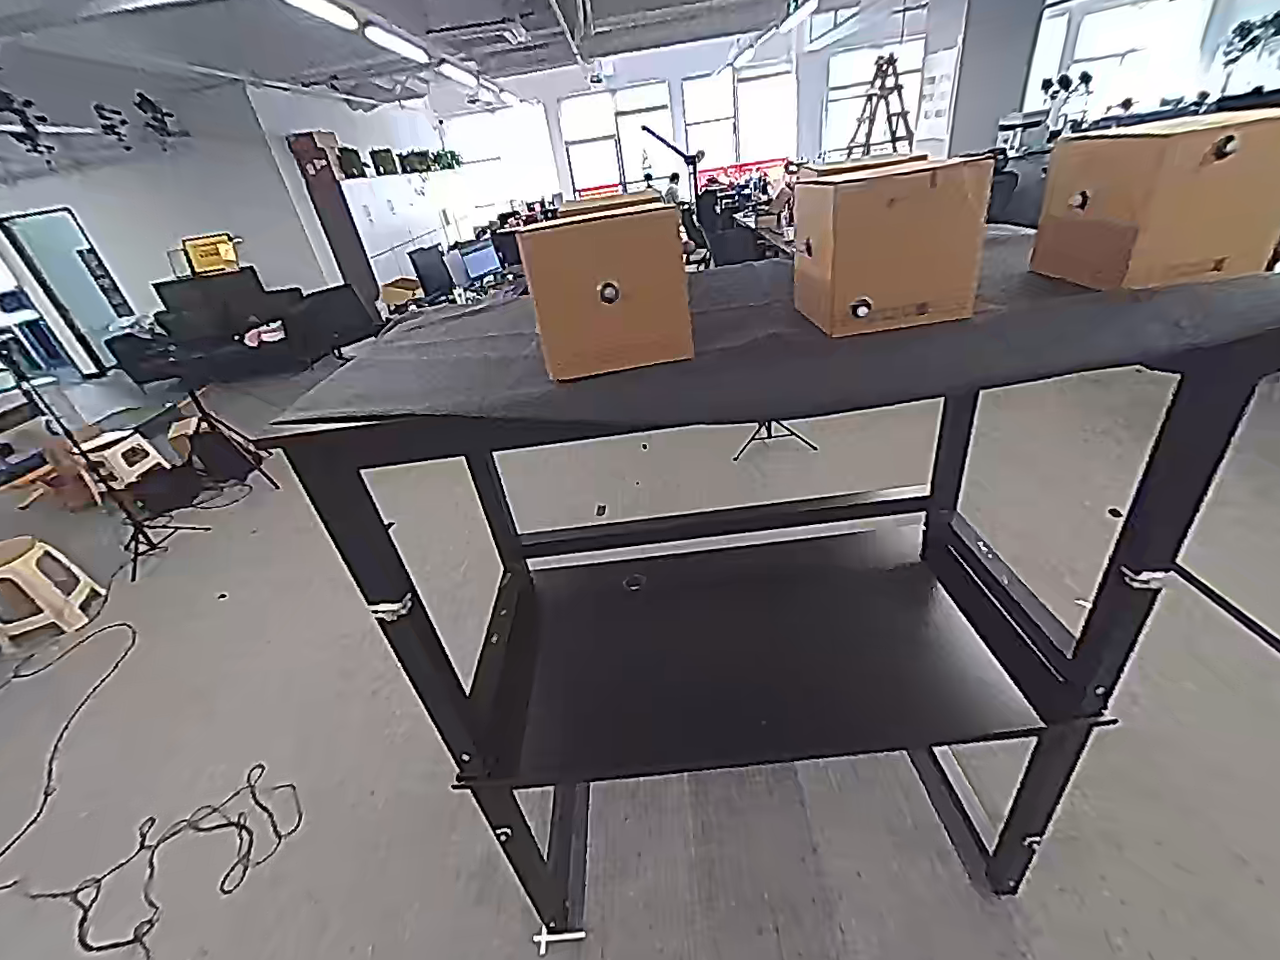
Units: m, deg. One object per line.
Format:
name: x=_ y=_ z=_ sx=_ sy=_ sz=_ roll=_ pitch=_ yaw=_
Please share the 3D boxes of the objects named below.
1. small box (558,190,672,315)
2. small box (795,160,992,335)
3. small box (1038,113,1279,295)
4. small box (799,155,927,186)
small box: x=-0.038 y=-0.393 z=0.943 sx=0.168 sy=0.176 sz=0.179 roll=-7 pitch=31 yaw=2
small box: x=0.298 y=-0.286 z=0.675 sx=0.168 sy=0.176 sz=0.179 roll=-7 pitch=28 yaw=4
small box: x=0.635 y=-0.334 z=0.664 sx=0.168 sy=0.176 sz=0.179 roll=-8 pitch=30 yaw=3
small box: x=0.371 y=-0.450 z=0.932 sx=0.168 sy=0.176 sz=0.179 roll=-4 pitch=31 yaw=7
